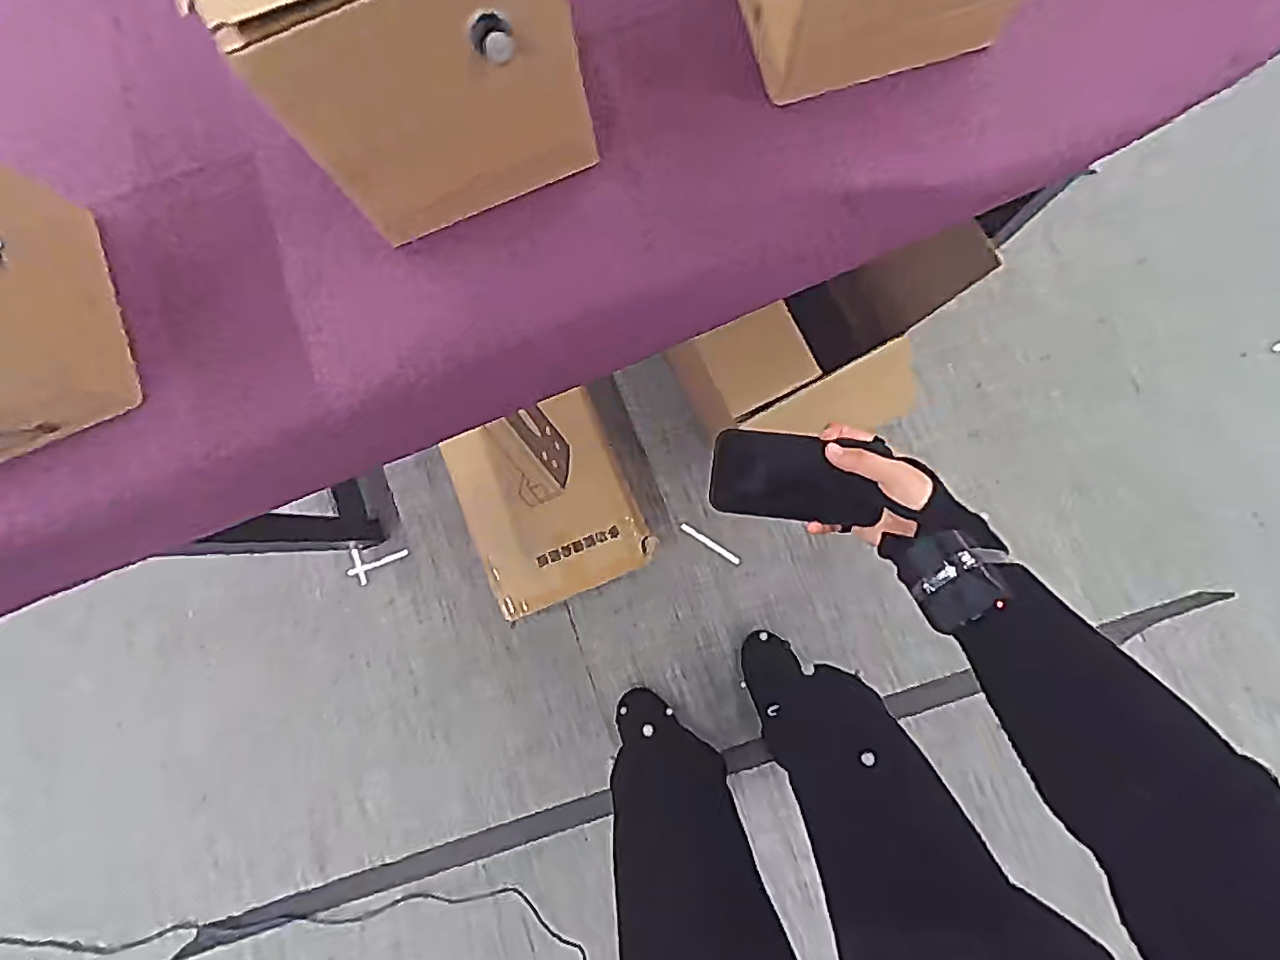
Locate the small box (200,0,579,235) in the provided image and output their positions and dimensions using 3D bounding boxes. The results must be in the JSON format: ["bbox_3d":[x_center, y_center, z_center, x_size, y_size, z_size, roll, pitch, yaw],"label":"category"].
[{"bbox_3d":[-0.149,-0.301,0.351,0.179,0.176,0.168,-22,80,1],"label":"small box"}]

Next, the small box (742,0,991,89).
[{"bbox_3d":[0.154,-0.399,0.345,0.179,0.176,0.168,-15,83,1],"label":"small box"}]
